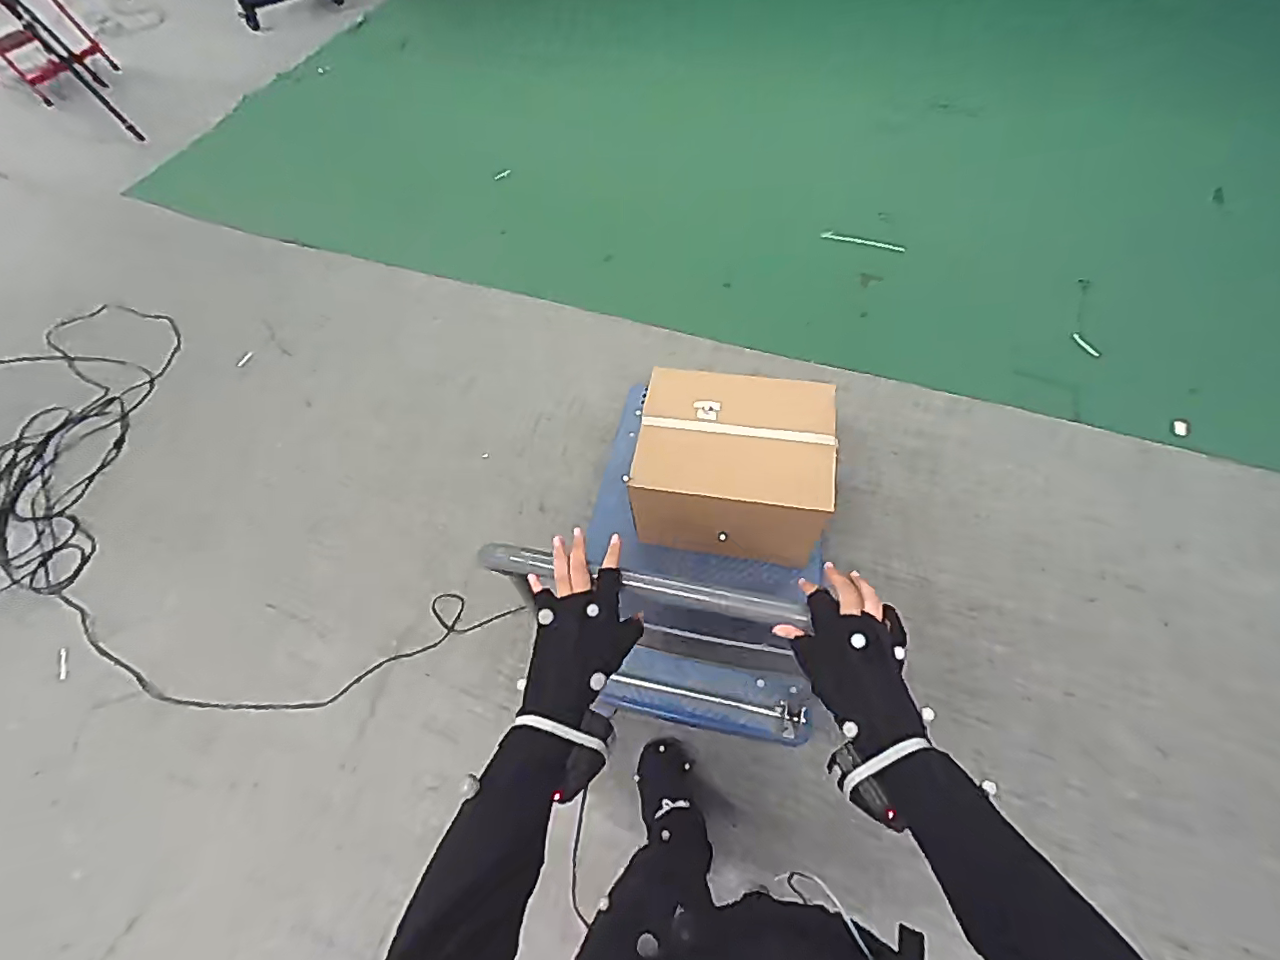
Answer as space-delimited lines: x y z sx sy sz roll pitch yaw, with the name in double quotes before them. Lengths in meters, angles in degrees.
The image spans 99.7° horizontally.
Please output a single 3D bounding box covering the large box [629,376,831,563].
"large box" 0.210 -0.017 1.265 0.408 0.320 0.320 6 61 9
